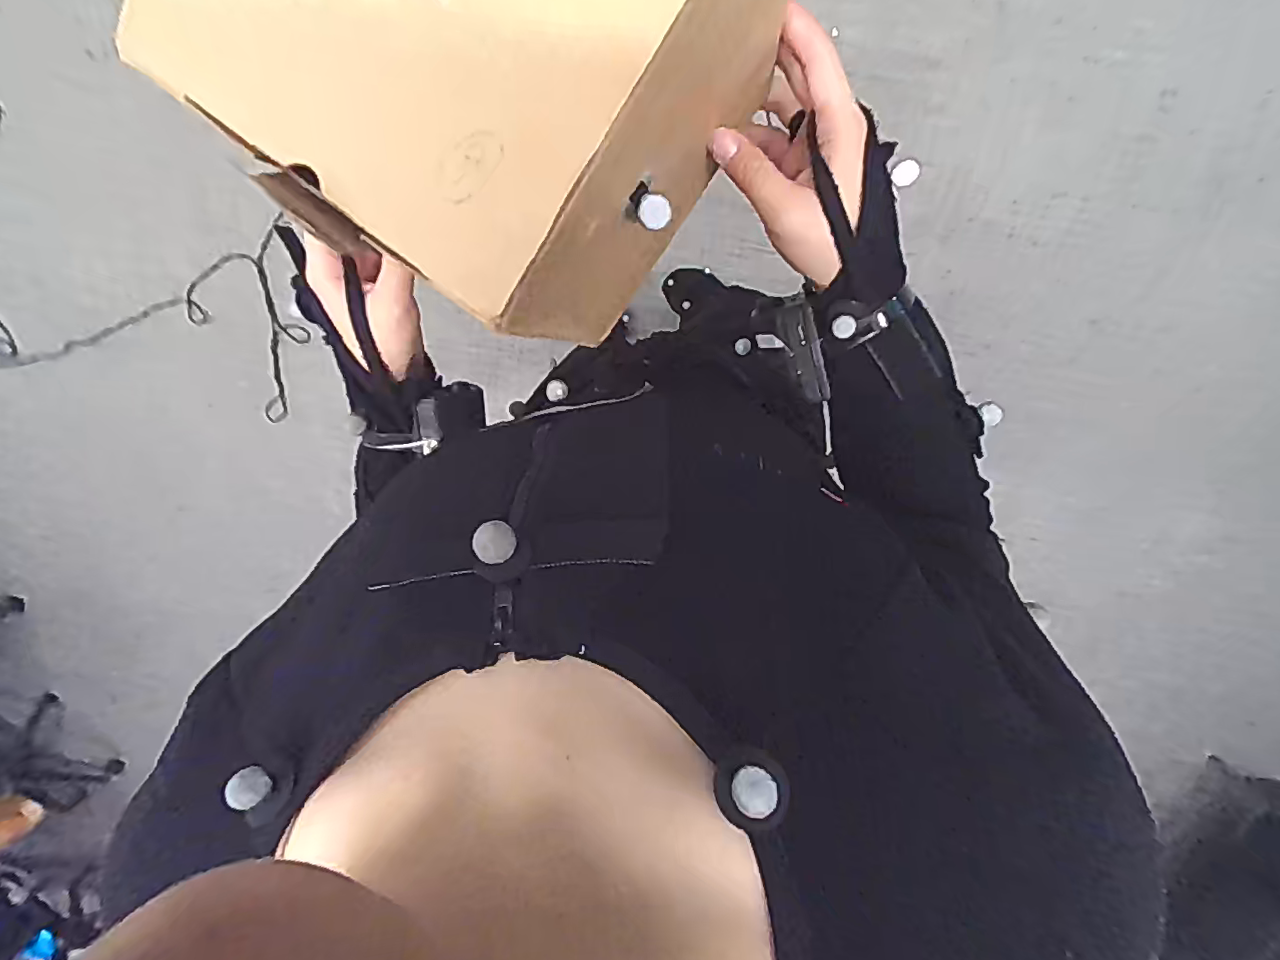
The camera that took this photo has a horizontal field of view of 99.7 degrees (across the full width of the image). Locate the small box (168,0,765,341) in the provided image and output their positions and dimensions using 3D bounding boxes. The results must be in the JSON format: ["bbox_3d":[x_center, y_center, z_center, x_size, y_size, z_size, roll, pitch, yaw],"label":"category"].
[{"bbox_3d":[-0.052,-0.182,0.257,0.168,0.176,0.179,36,105,-1],"label":"small box"}]
